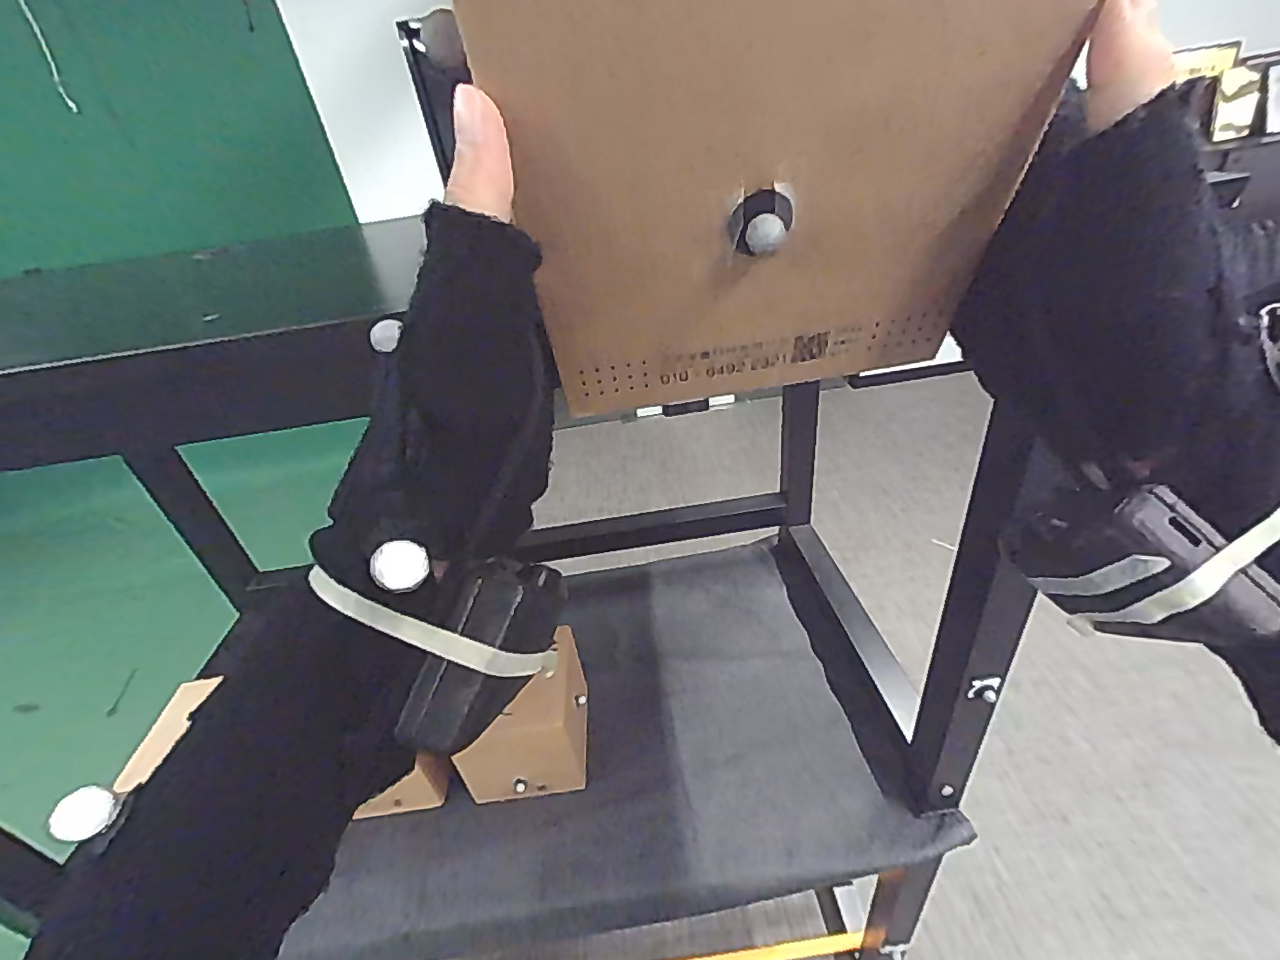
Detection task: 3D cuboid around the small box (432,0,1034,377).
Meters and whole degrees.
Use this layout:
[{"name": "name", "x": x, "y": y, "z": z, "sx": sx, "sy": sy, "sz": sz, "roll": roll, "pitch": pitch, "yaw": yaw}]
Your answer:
[{"name": "small box", "x": 0.027, "y": -0.159, "z": 0.224, "sx": 0.168, "sy": 0.176, "sz": 0.179, "roll": -9, "pitch": 54, "yaw": -1}]

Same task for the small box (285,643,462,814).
[{"name": "small box", "x": -0.388, "y": 0.383, "z": 0.829, "sx": 0.168, "sy": 0.176, "sz": 0.179, "roll": -8, "pitch": 32, "yaw": 0}]
